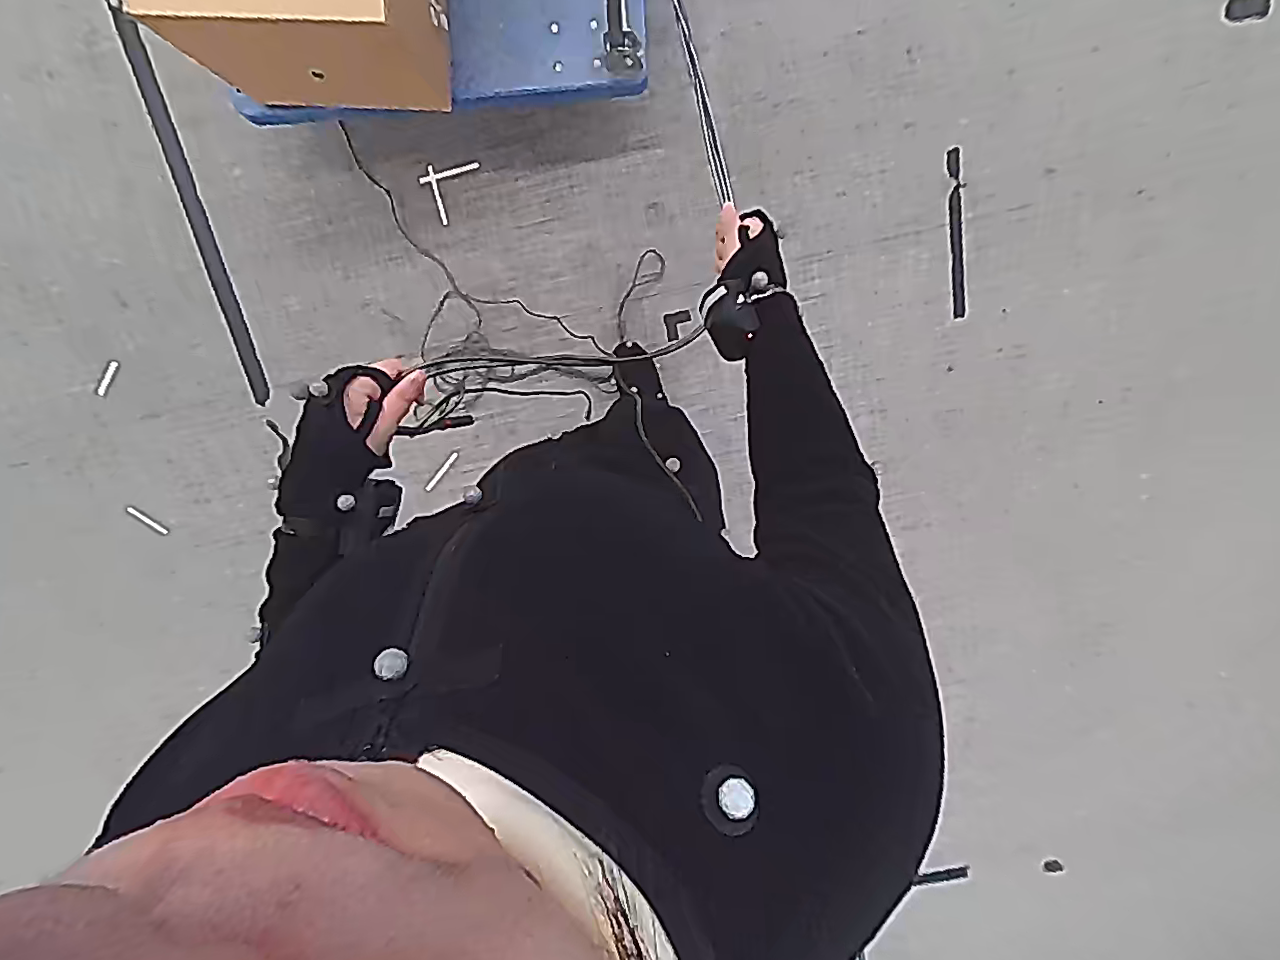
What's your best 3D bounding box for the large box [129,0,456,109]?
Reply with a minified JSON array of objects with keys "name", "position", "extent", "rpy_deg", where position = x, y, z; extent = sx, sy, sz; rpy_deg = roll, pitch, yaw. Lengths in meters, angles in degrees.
[{"name":"large box","position":[-0.577,-0.881,0.940],"extent":[0.408,0.320,0.320],"rpy_deg":[1,102,0]}]
